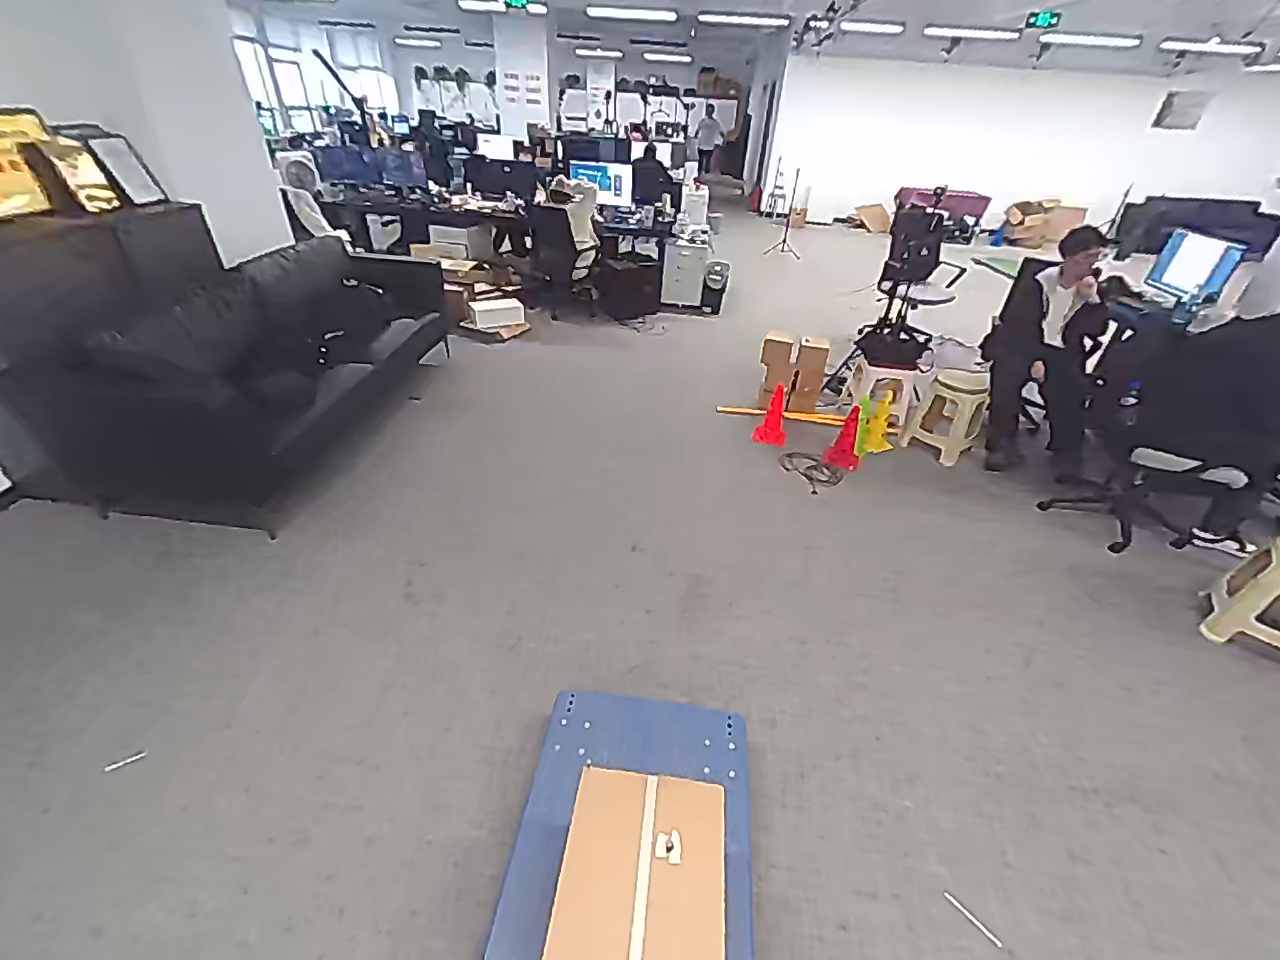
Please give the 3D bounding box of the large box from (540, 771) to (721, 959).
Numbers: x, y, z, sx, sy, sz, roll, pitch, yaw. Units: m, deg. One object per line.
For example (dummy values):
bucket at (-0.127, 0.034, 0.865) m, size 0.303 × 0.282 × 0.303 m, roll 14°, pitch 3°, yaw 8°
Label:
large box at (-0.011, 0.886, 1.098) m, size 0.320 × 0.320 × 0.408 m, roll 6°, pitch 34°, yaw 3°
